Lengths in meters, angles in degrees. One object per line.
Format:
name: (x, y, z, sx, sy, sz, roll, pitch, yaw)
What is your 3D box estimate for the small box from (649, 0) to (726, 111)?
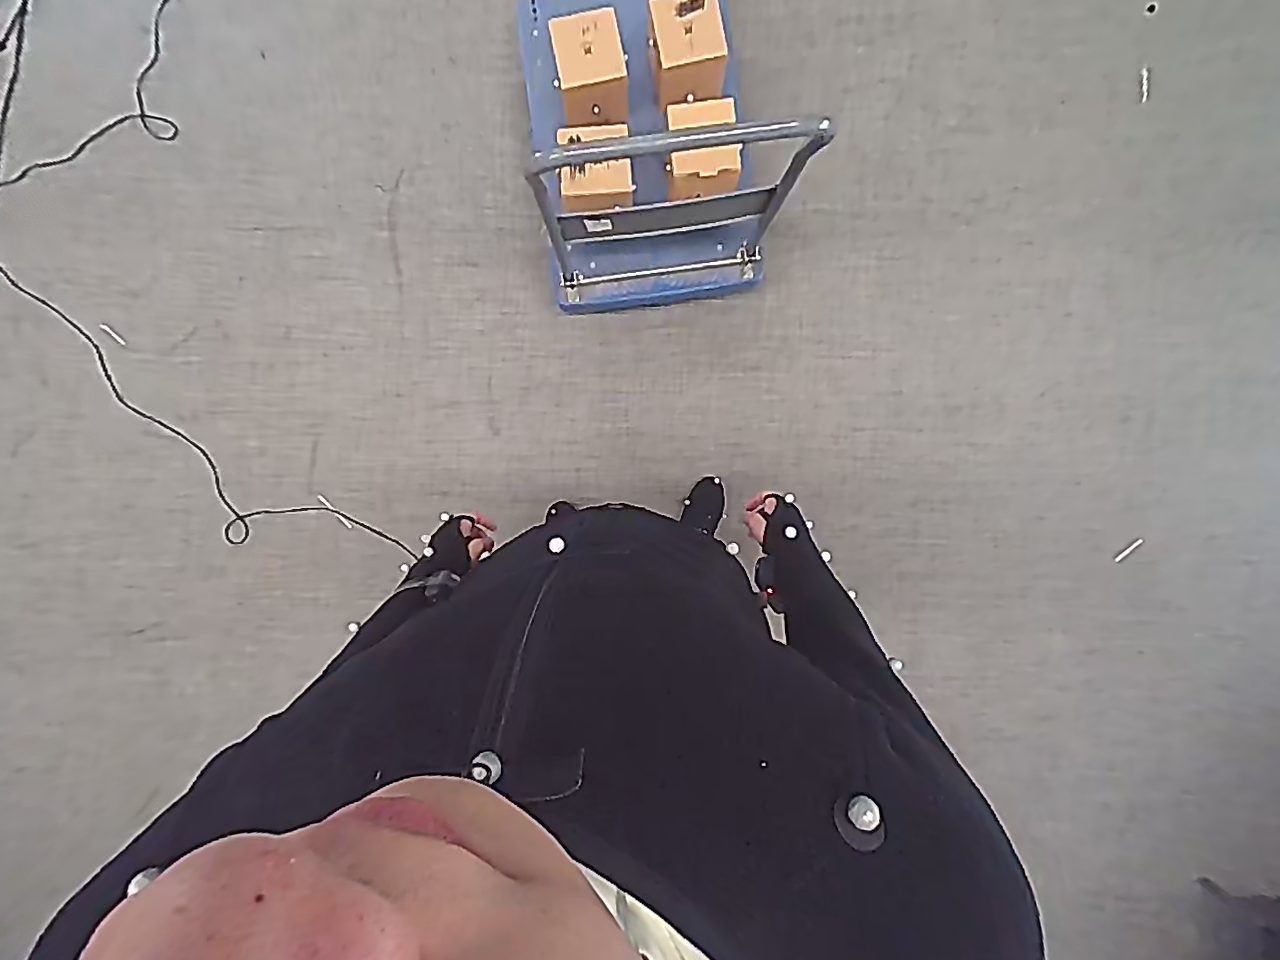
small box: (0.118, -1.110, 1.404, 0.168, 0.176, 0.179, -11, 91, 2)

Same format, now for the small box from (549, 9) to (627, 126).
small box: (-0.129, -1.058, 1.408, 0.168, 0.176, 0.179, -12, 90, 0)

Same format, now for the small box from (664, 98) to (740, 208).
small box: (0.156, -0.842, 1.405, 0.168, 0.176, 0.179, -7, 90, 0)
